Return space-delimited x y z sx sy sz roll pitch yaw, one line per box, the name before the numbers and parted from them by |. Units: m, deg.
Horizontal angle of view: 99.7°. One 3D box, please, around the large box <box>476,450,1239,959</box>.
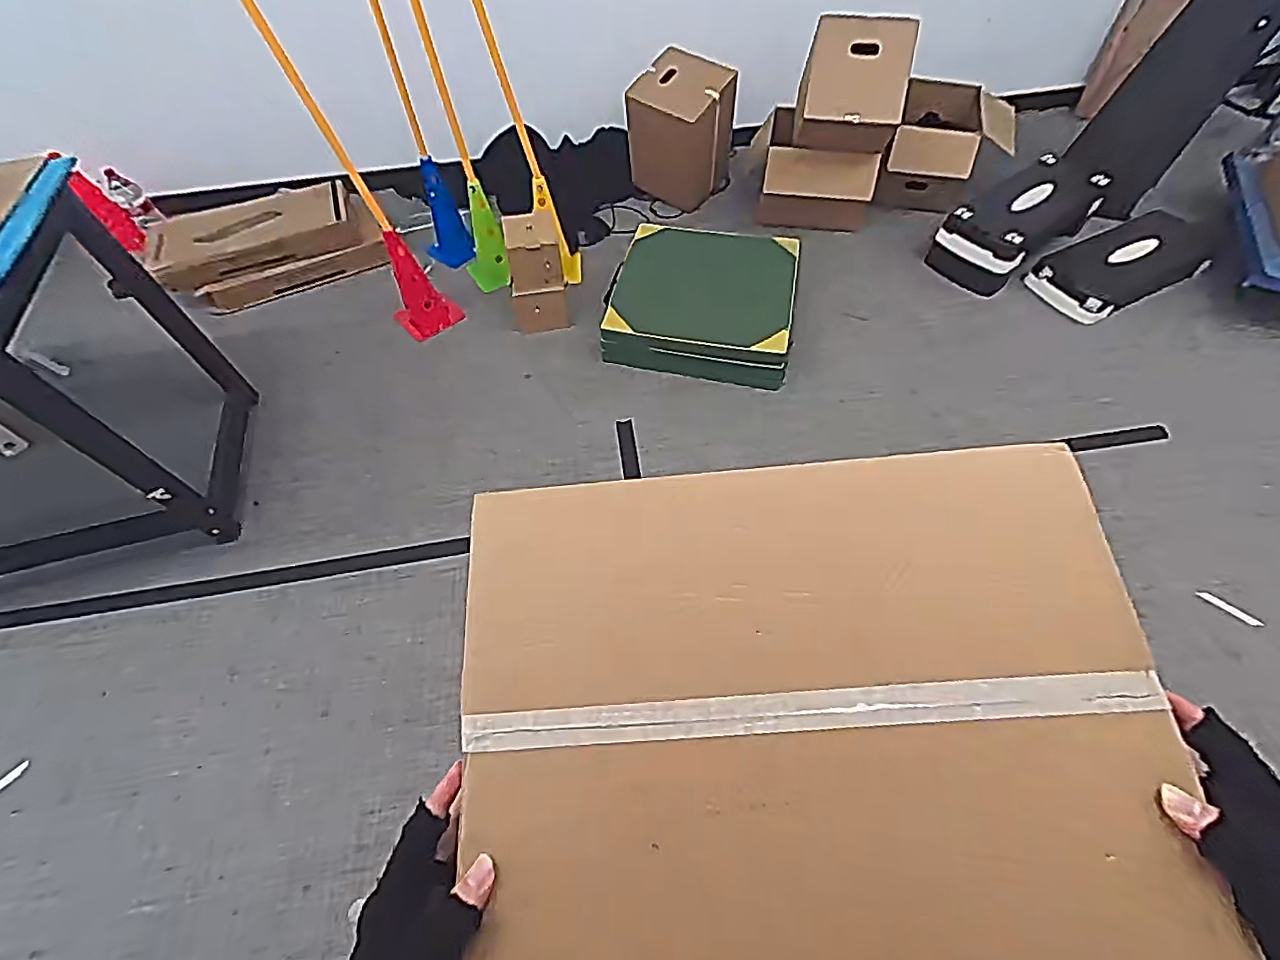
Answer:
large box | 0.109 0.195 0.470 0.408 0.320 0.320 -6 70 4
